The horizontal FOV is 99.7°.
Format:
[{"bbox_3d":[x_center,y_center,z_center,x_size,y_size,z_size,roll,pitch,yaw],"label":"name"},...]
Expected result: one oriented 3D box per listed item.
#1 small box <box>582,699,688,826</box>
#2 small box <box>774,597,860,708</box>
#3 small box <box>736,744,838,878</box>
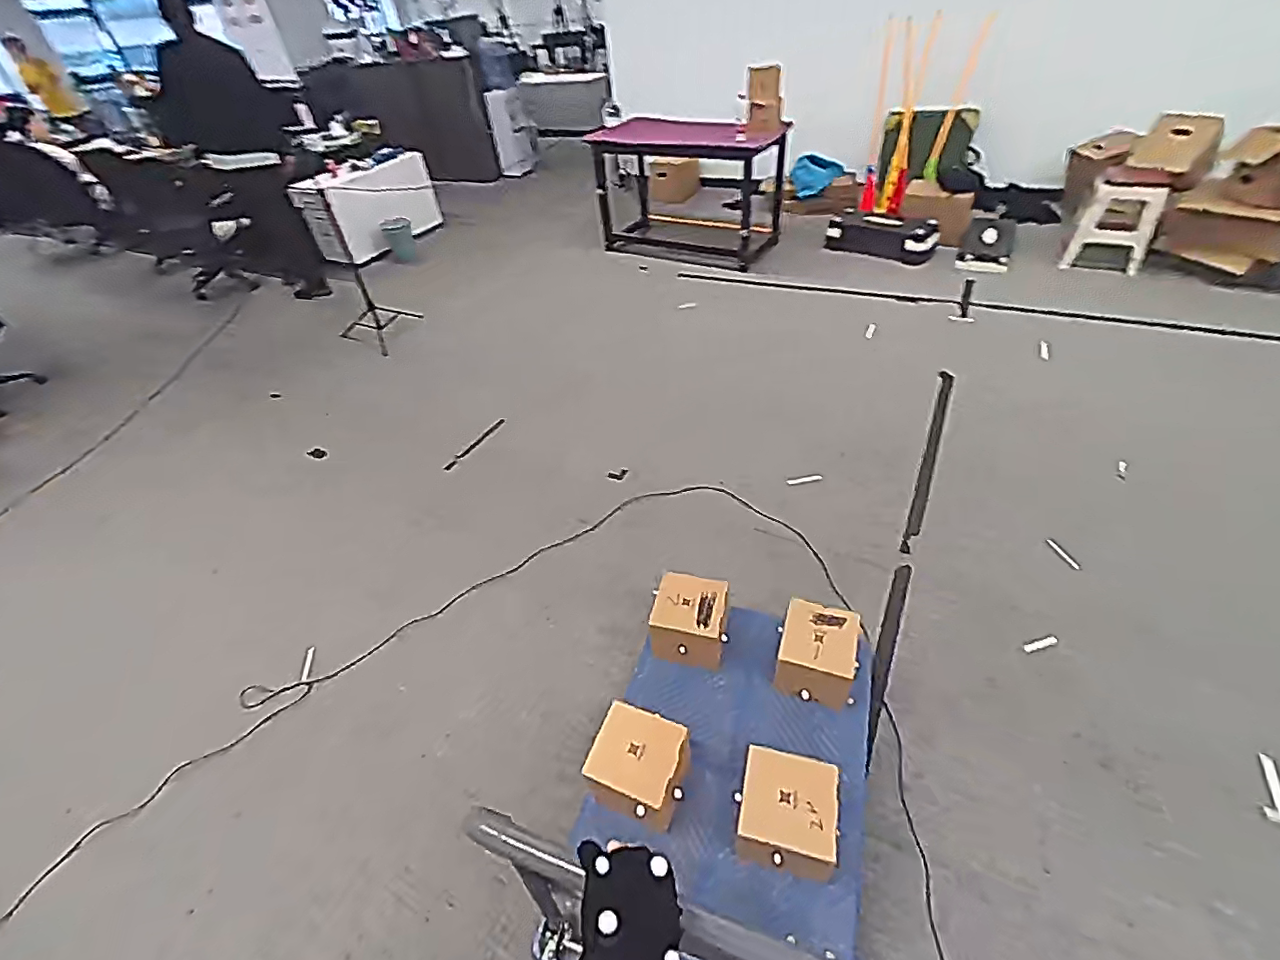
[{"bbox_3d":[-0.003,0.614,1.169,0.179,0.176,0.168,14,46,19],"label":"small box"},{"bbox_3d":[0.427,0.420,1.318,0.168,0.176,0.179,11,47,19],"label":"small box"},{"bbox_3d":[0.289,0.661,1.078,0.179,0.176,0.168,8,45,16],"label":"small box"}]
